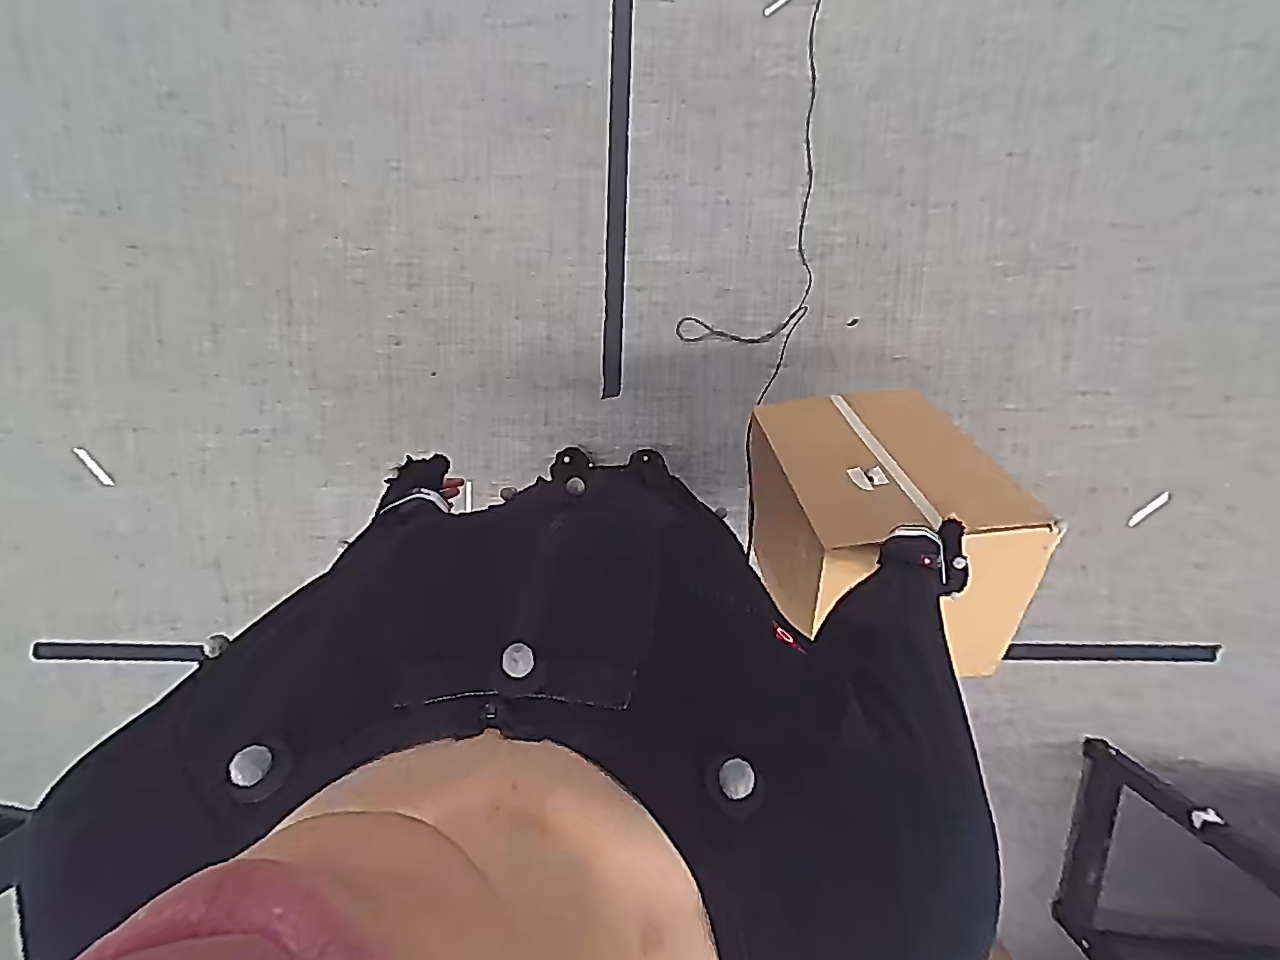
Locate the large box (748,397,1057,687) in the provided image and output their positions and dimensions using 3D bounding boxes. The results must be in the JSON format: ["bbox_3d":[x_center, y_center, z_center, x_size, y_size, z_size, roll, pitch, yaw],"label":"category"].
[{"bbox_3d":[0.395,0.090,0.957,0.320,0.408,0.320,-7,126,-1],"label":"large box"}]
